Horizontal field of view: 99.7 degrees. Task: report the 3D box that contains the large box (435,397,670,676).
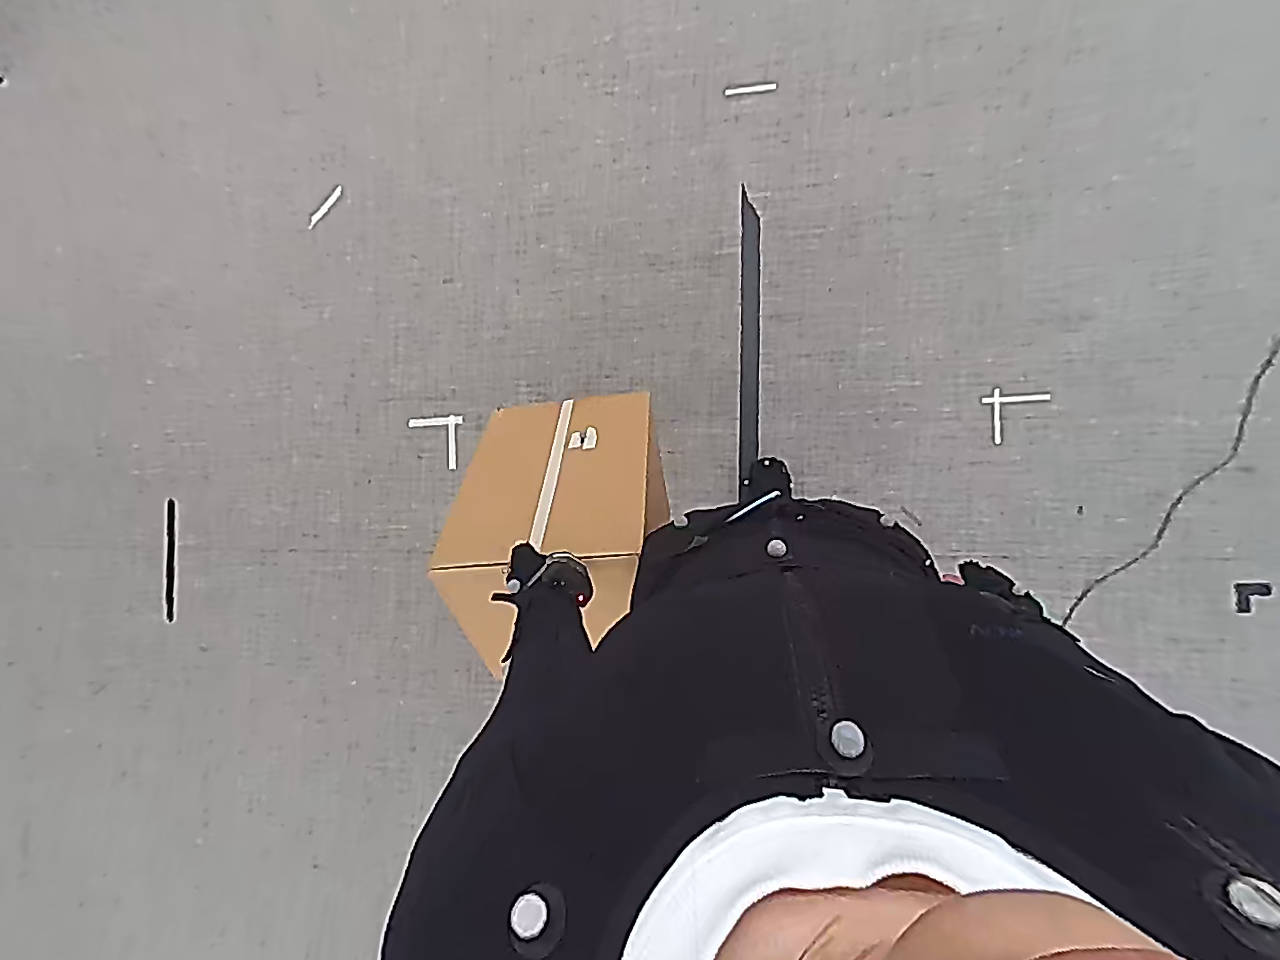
[{"bbox_3d":[-0.120,0.098,1.006,0.320,0.408,0.320,-5,130,8],"label":"large box"}]
